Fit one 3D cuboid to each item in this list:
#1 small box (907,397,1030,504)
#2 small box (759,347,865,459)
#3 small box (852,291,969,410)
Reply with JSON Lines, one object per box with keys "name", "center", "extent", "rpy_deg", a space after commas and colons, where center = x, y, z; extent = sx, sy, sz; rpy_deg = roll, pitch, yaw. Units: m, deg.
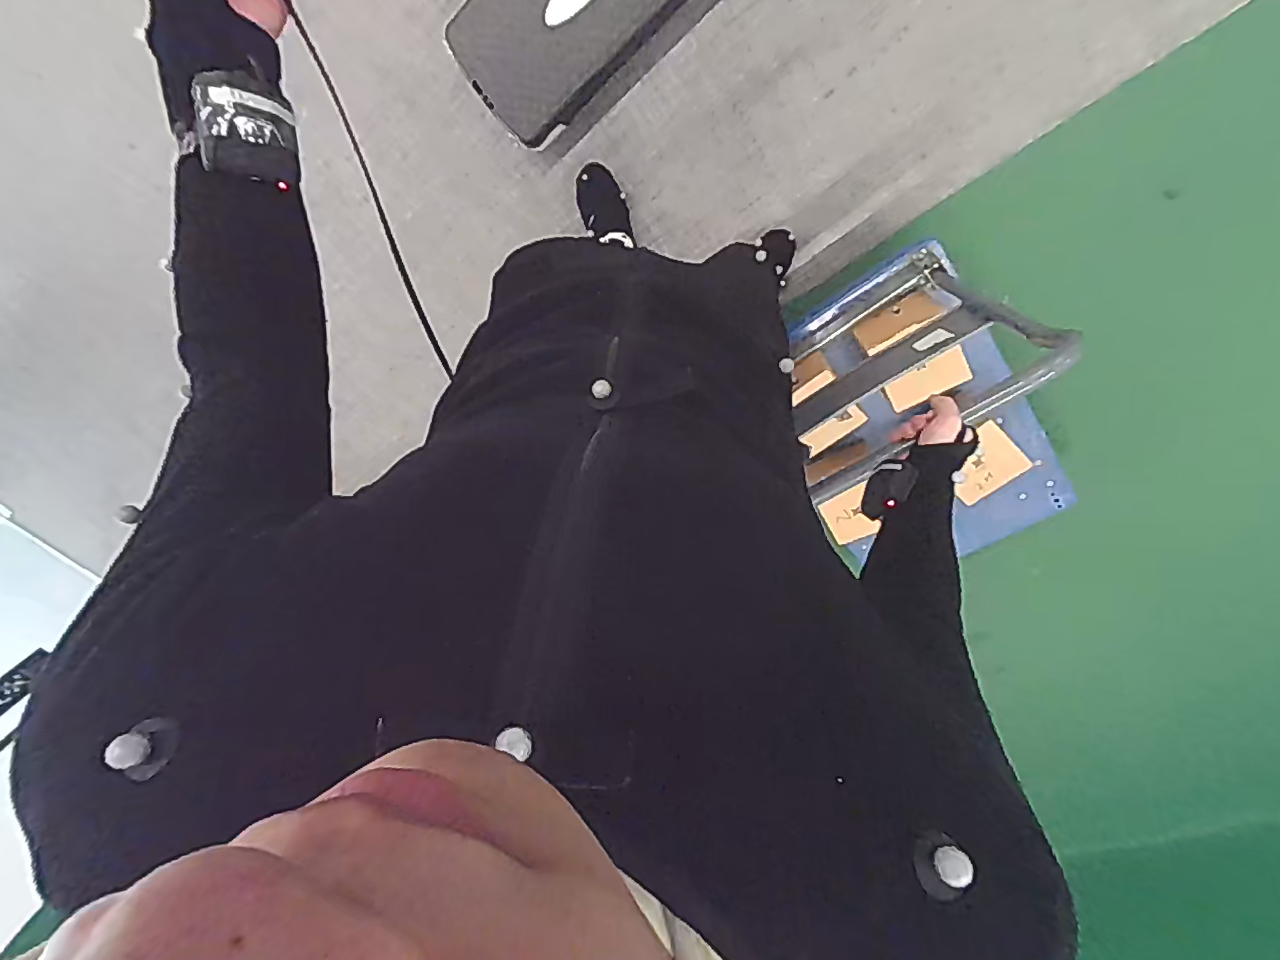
{"name": "small box", "center": [0.790, -0.082, 1.321], "extent": [0.179, 0.176, 0.168], "rpy_deg": [38, 120, -16]}
{"name": "small box", "center": [0.404, -0.190, 1.301], "extent": [0.179, 0.176, 0.168], "rpy_deg": [-37, 111, 26]}
{"name": "small box", "center": [0.599, -0.293, 1.213], "extent": [0.168, 0.176, 0.179], "rpy_deg": [-27, 115, 22]}
